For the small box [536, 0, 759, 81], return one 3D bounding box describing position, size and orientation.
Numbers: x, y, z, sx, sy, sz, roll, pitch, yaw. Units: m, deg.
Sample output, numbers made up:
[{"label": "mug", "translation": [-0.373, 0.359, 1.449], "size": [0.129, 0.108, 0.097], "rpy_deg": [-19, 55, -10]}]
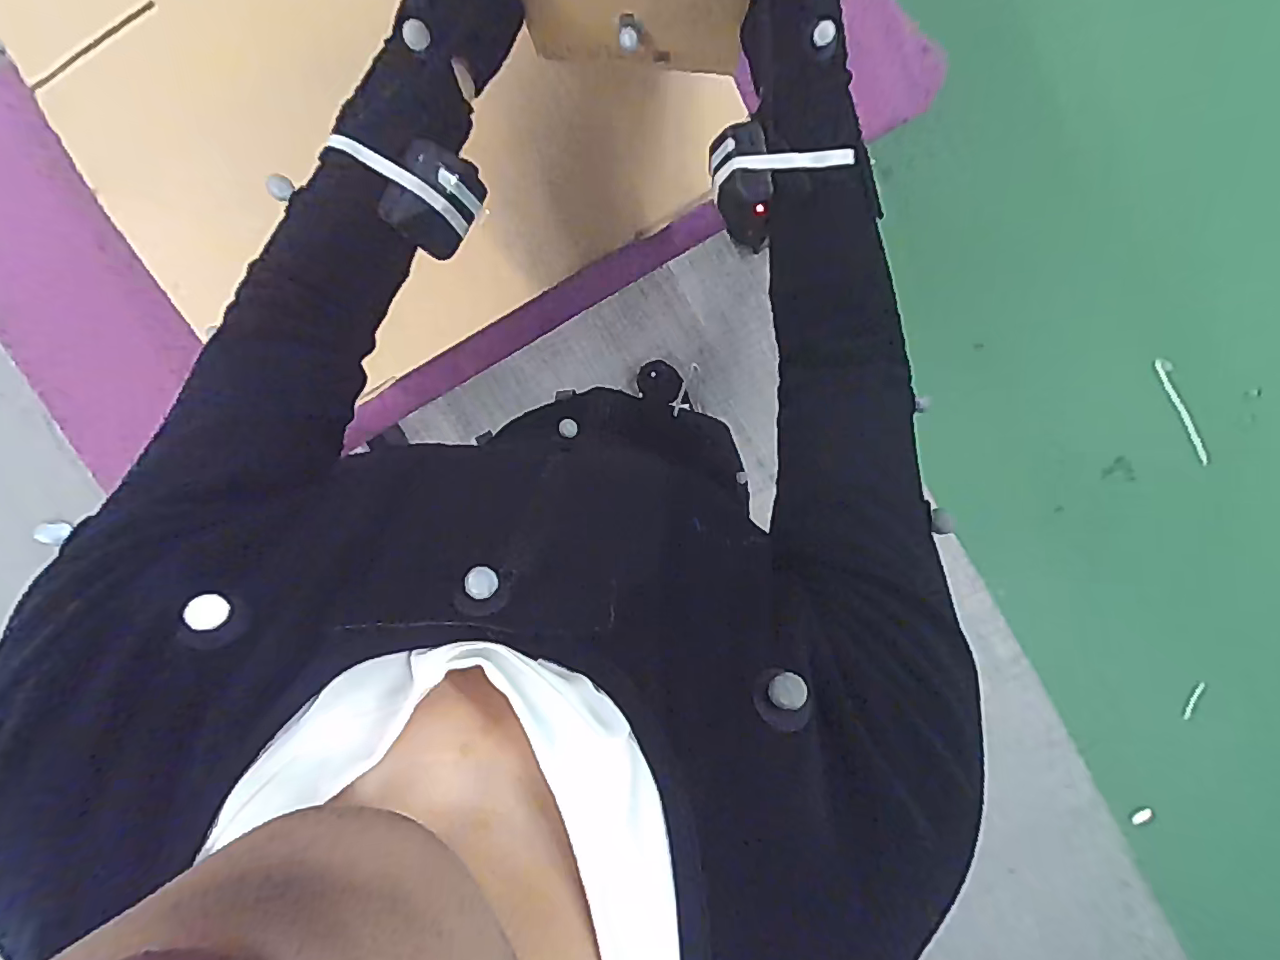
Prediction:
[{"label": "small box", "translation": [0.010, -0.412, 0.355], "size": [0.168, 0.176, 0.179], "rpy_deg": [8, 100, 1]}]
